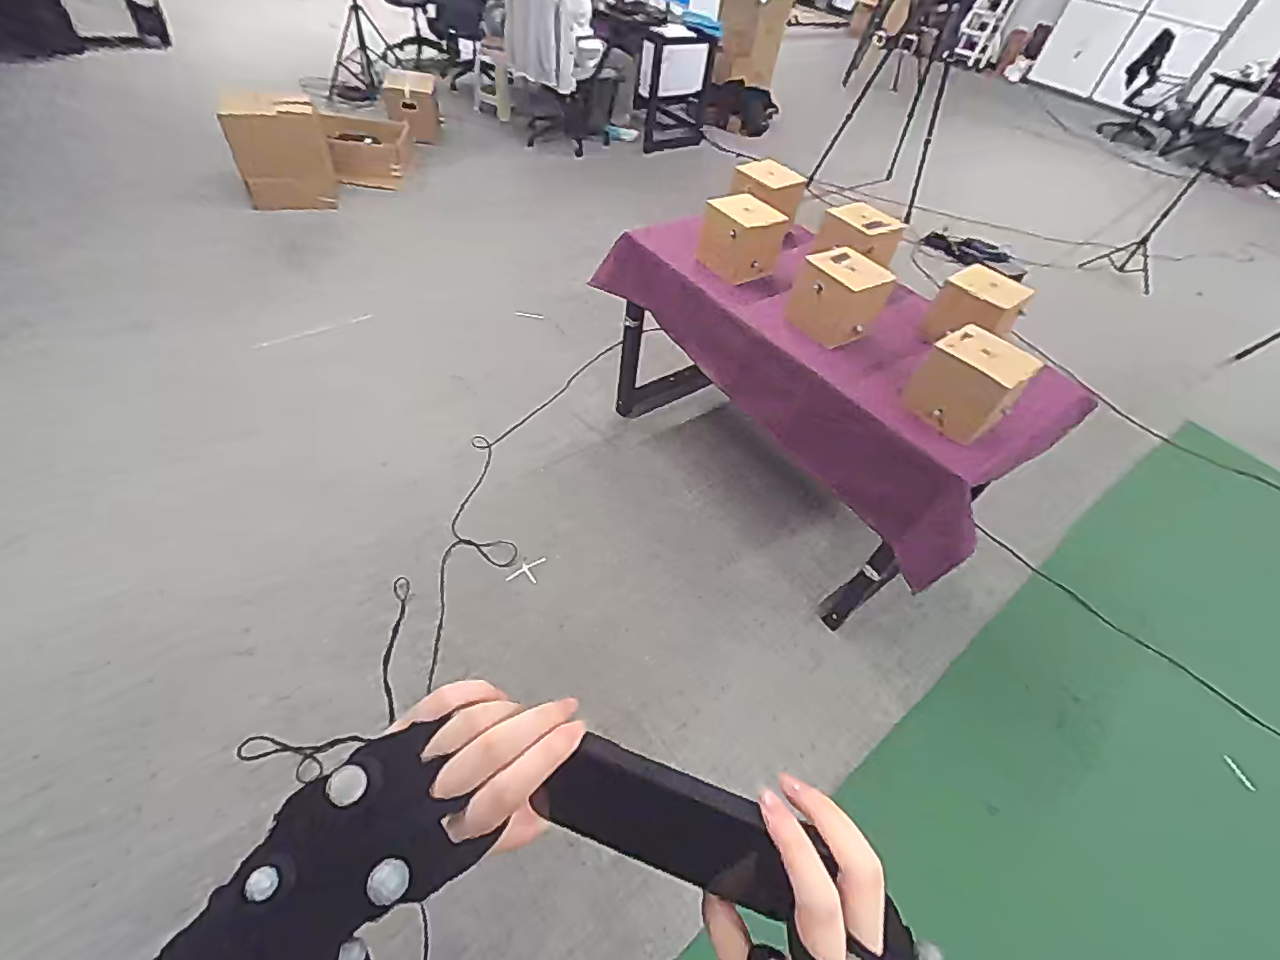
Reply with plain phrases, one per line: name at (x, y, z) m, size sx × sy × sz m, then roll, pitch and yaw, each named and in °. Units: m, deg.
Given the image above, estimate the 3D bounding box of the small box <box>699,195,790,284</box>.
small box at (0.292, -0.692, 1.556) m, size 0.168 × 0.176 × 0.179 m, roll -25°, pitch 58°, yaw -27°

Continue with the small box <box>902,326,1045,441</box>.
small box at (0.730, -0.208, 1.201) m, size 0.168 × 0.176 × 0.179 m, roll -27°, pitch 58°, yaw -29°

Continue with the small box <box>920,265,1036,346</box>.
small box at (0.877, -0.433, 1.419) m, size 0.179 × 0.176 × 0.168 m, roll -29°, pitch 59°, yaw -29°

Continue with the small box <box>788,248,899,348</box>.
small box at (0.514, -0.469, 1.396) m, size 0.168 × 0.176 × 0.179 m, roll -23°, pitch 57°, yaw -26°
